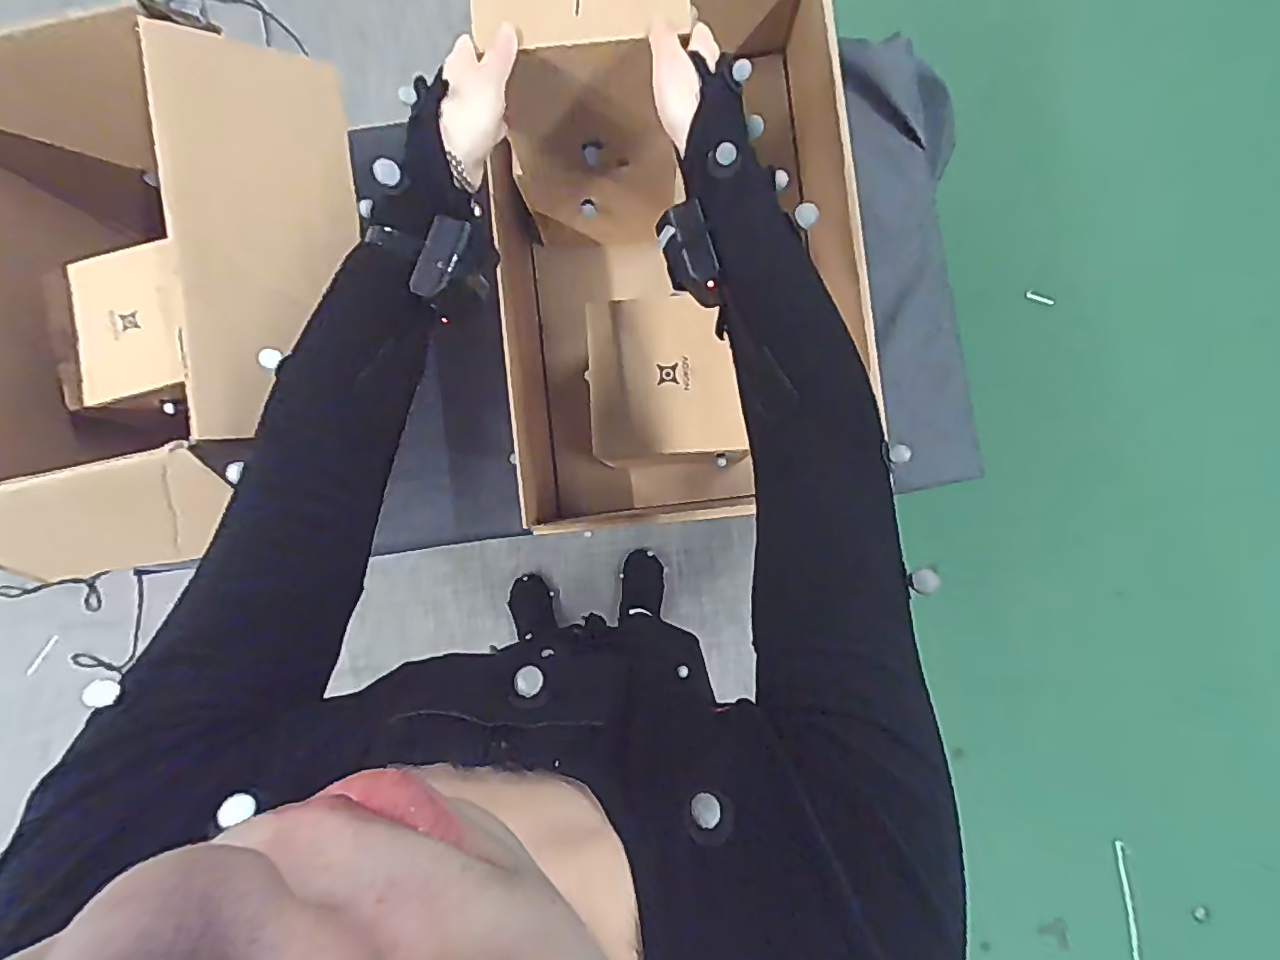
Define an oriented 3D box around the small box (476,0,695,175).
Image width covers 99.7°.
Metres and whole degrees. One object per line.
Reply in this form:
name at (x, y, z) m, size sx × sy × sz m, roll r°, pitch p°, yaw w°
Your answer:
small box at (-0.043, -0.409, 0.484) m, size 0.168 × 0.176 × 0.179 m, roll -4°, pitch 90°, yaw 1°
